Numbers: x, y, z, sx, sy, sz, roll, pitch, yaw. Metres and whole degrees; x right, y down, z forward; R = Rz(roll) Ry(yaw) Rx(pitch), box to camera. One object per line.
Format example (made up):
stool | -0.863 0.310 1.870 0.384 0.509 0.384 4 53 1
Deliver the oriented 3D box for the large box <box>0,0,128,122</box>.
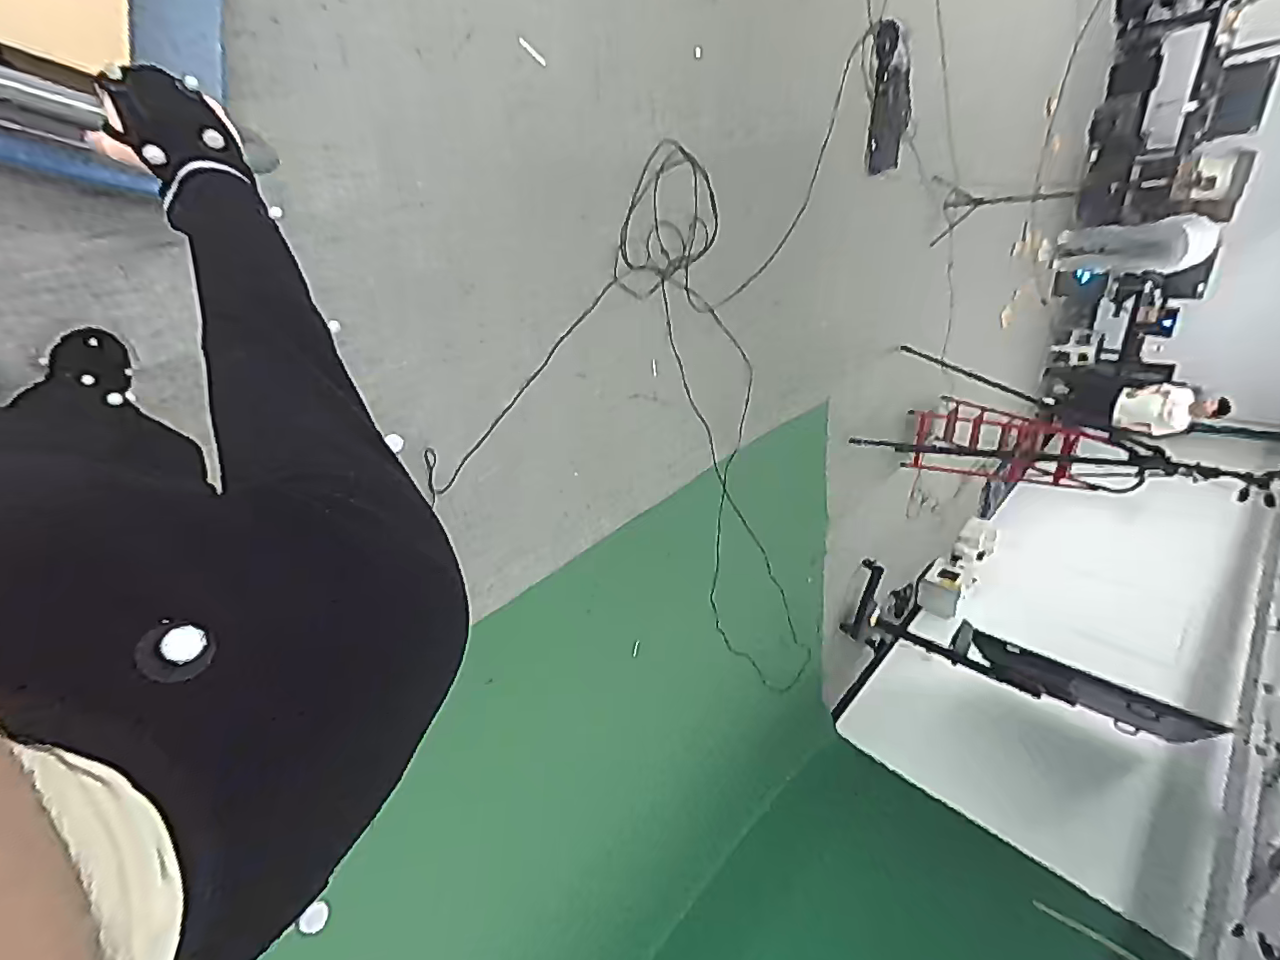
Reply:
large box | -0.907 -0.781 0.717 0.320 0.320 0.408 -3 106 -45
